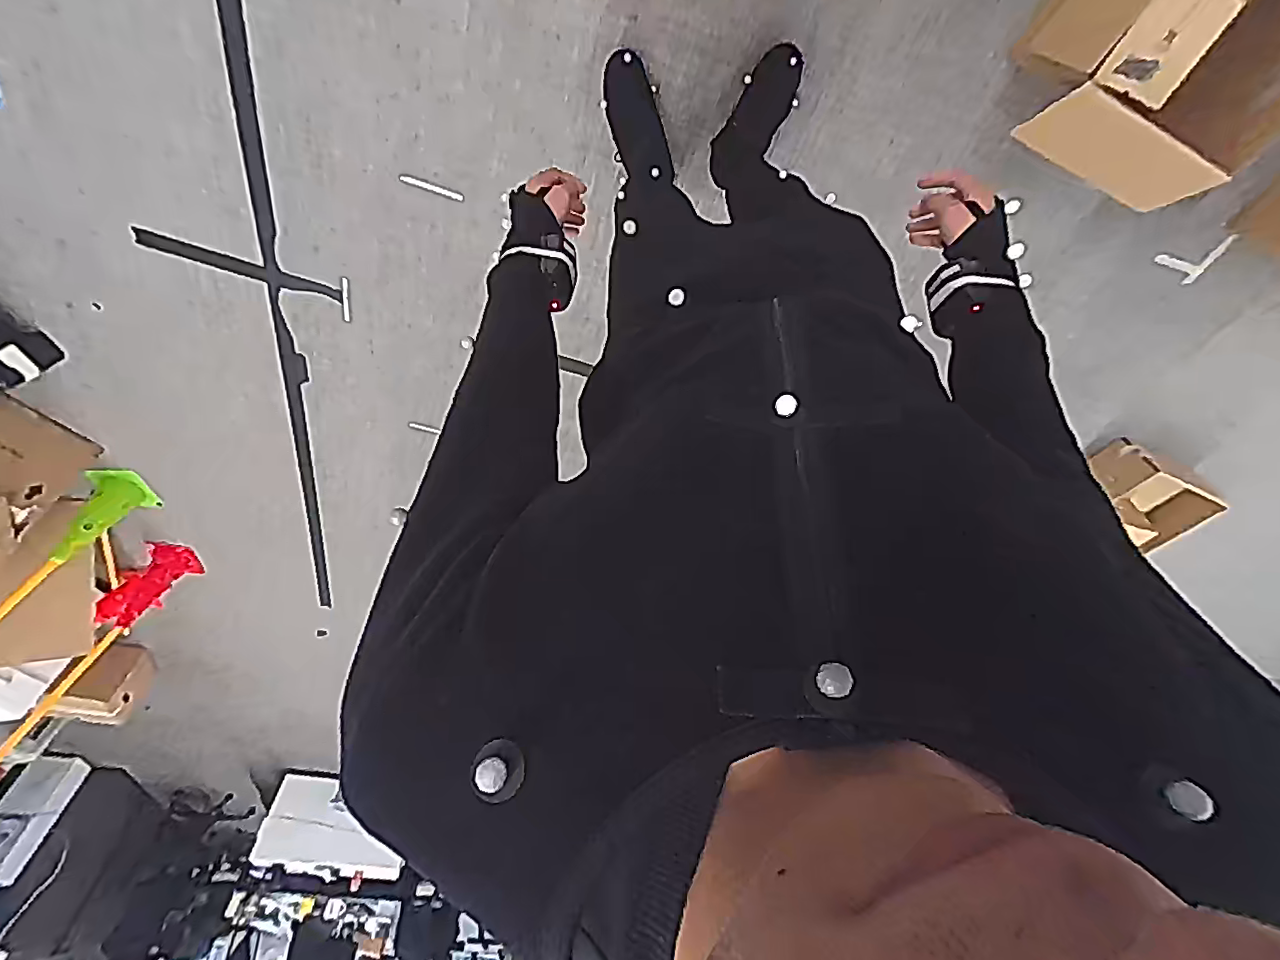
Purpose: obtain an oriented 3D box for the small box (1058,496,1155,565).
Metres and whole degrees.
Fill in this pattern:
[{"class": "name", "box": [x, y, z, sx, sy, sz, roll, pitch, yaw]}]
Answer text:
[{"class": "small box", "box": [1.707, 0.183, 1.993, 0.179, 0.176, 0.168, 14, 133, -13]}]
